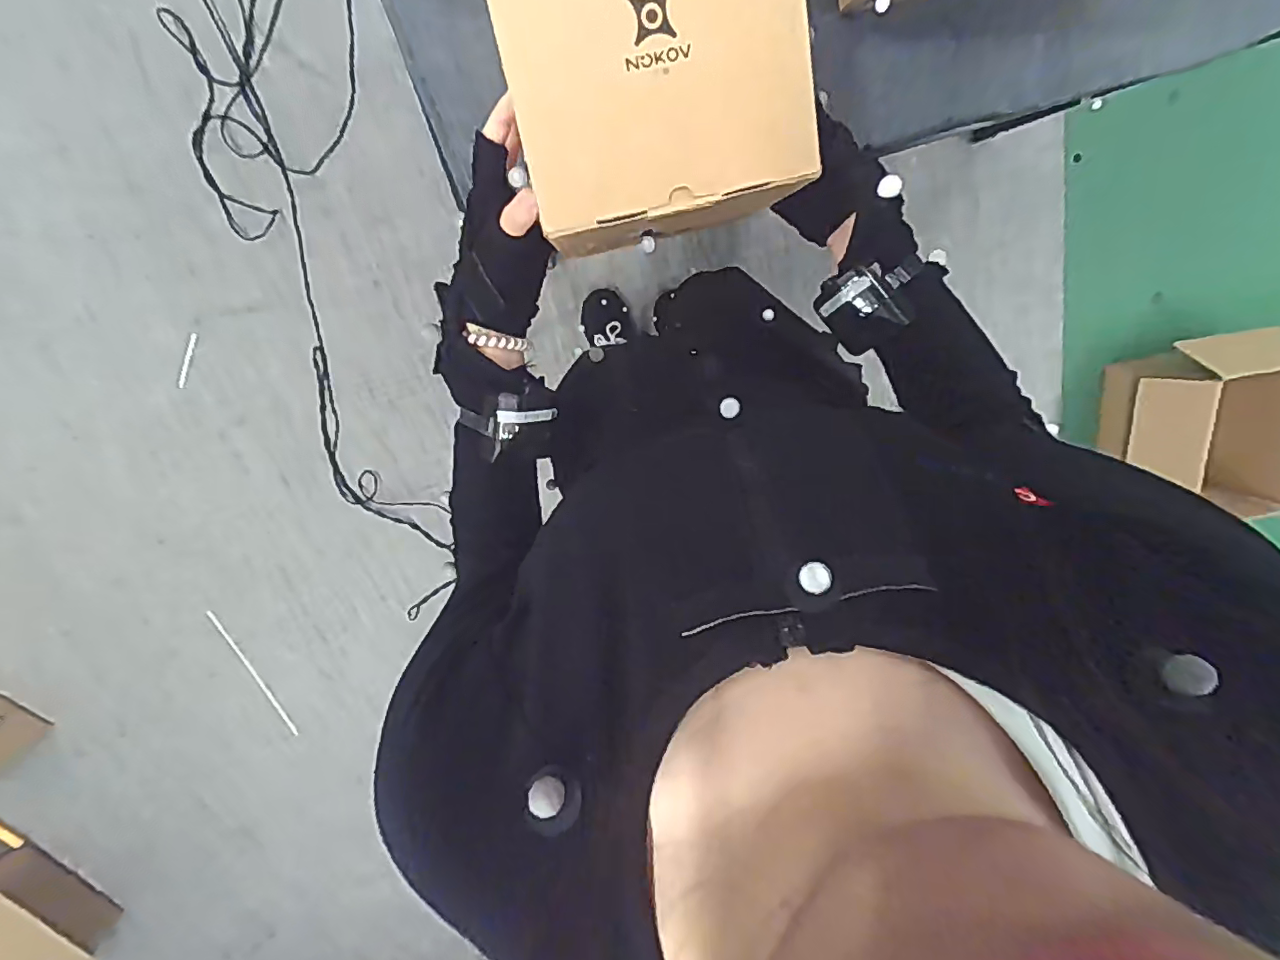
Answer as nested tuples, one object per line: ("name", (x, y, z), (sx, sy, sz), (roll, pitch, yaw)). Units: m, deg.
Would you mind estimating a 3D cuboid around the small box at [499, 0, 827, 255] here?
("small box", (0.005, -0.263, 0.359), (0.168, 0.176, 0.179), (-13, 109, 0))
